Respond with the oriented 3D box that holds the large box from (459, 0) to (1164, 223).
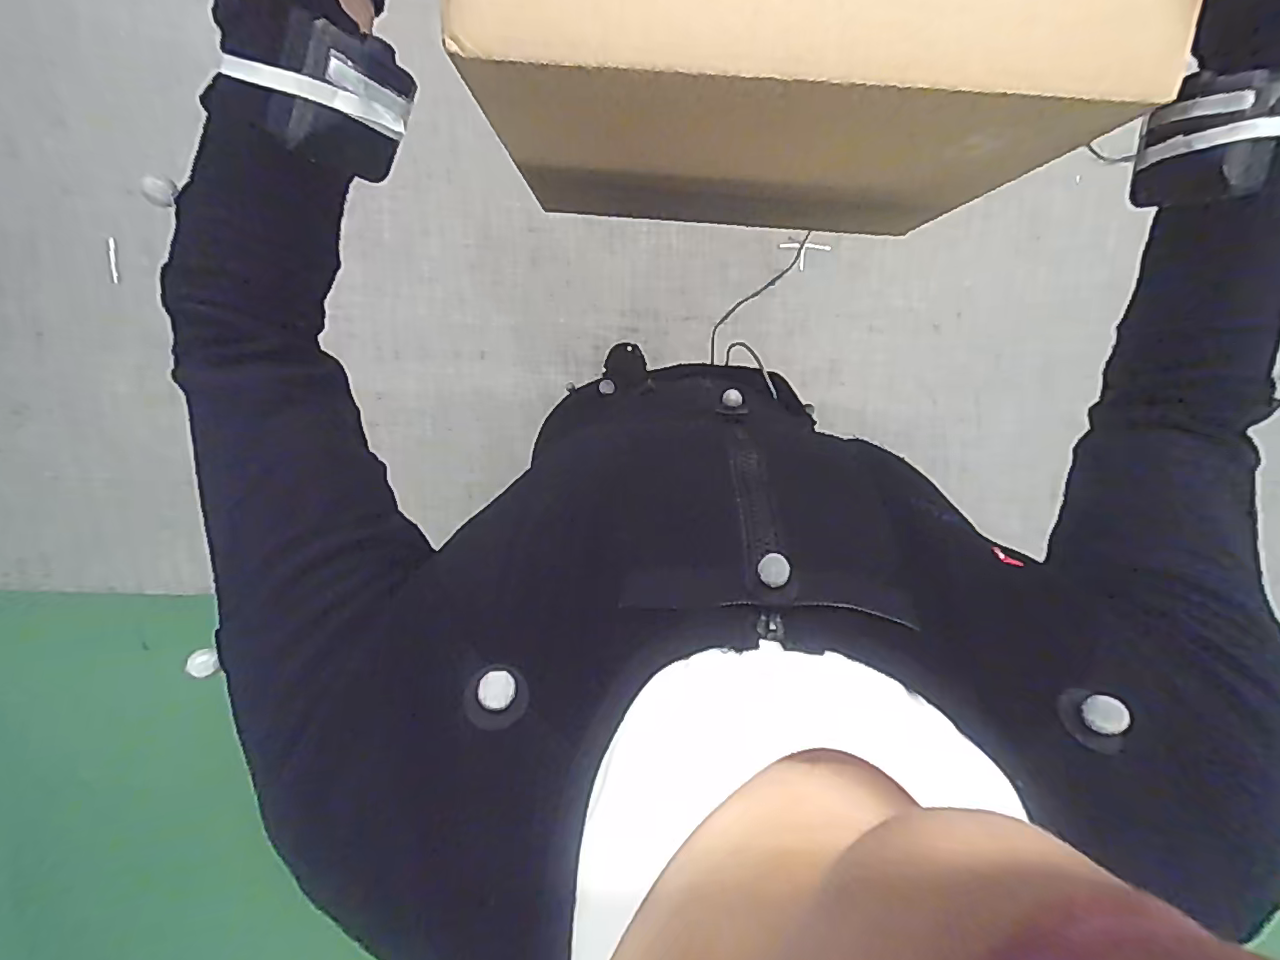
[{"bbox_3d":[0.098,-0.411,0.425,0.408,0.320,0.320,3,102,-1],"label":"large box"}]
